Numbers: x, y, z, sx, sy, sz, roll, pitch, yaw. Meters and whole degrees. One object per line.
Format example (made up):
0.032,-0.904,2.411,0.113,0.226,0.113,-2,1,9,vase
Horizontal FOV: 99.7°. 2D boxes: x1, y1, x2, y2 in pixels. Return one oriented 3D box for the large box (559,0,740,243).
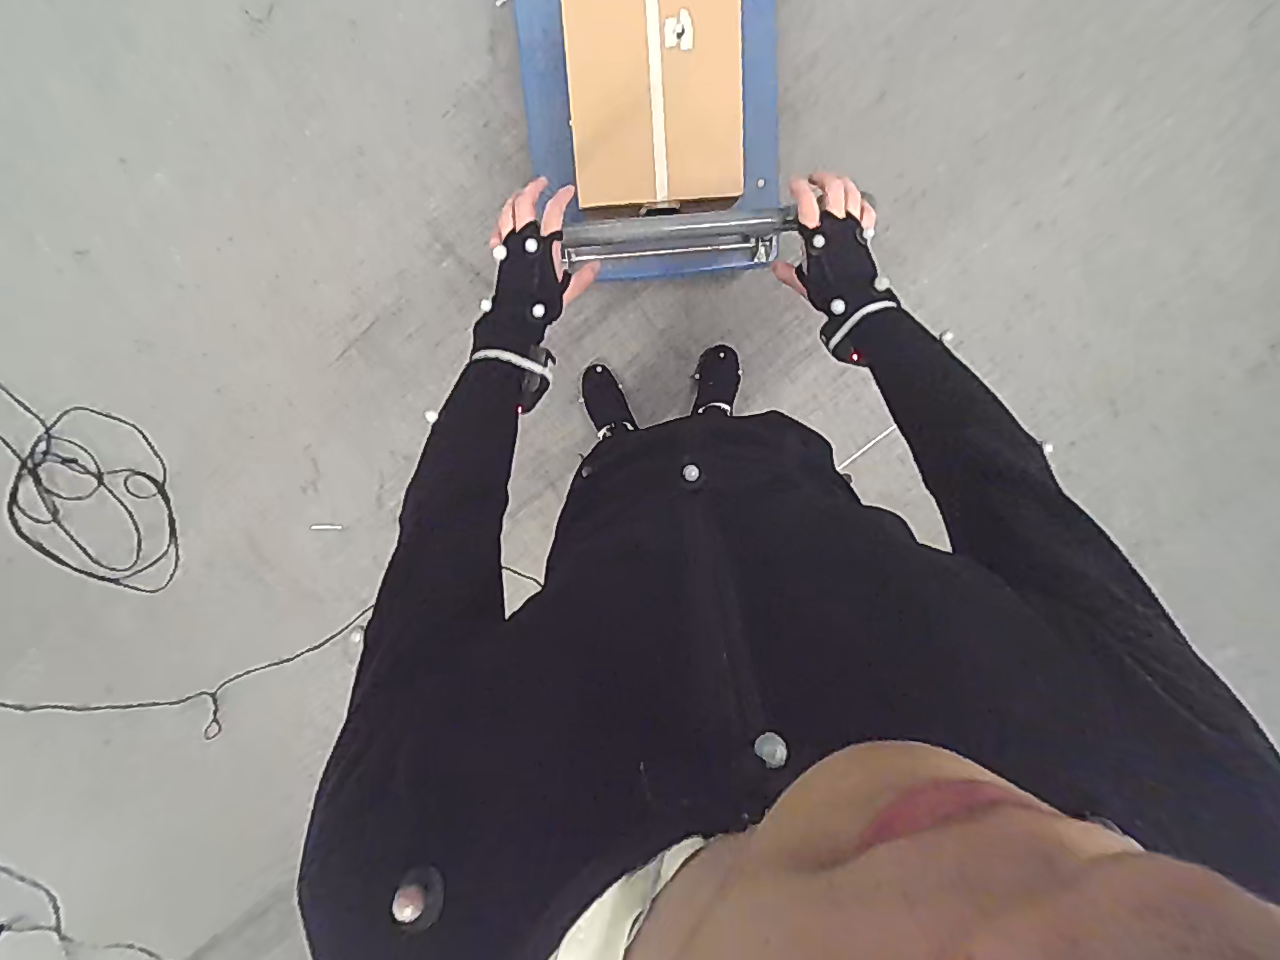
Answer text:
0.024,-0.748,1.135,0.320,0.320,0.408,-4,104,1,large box
